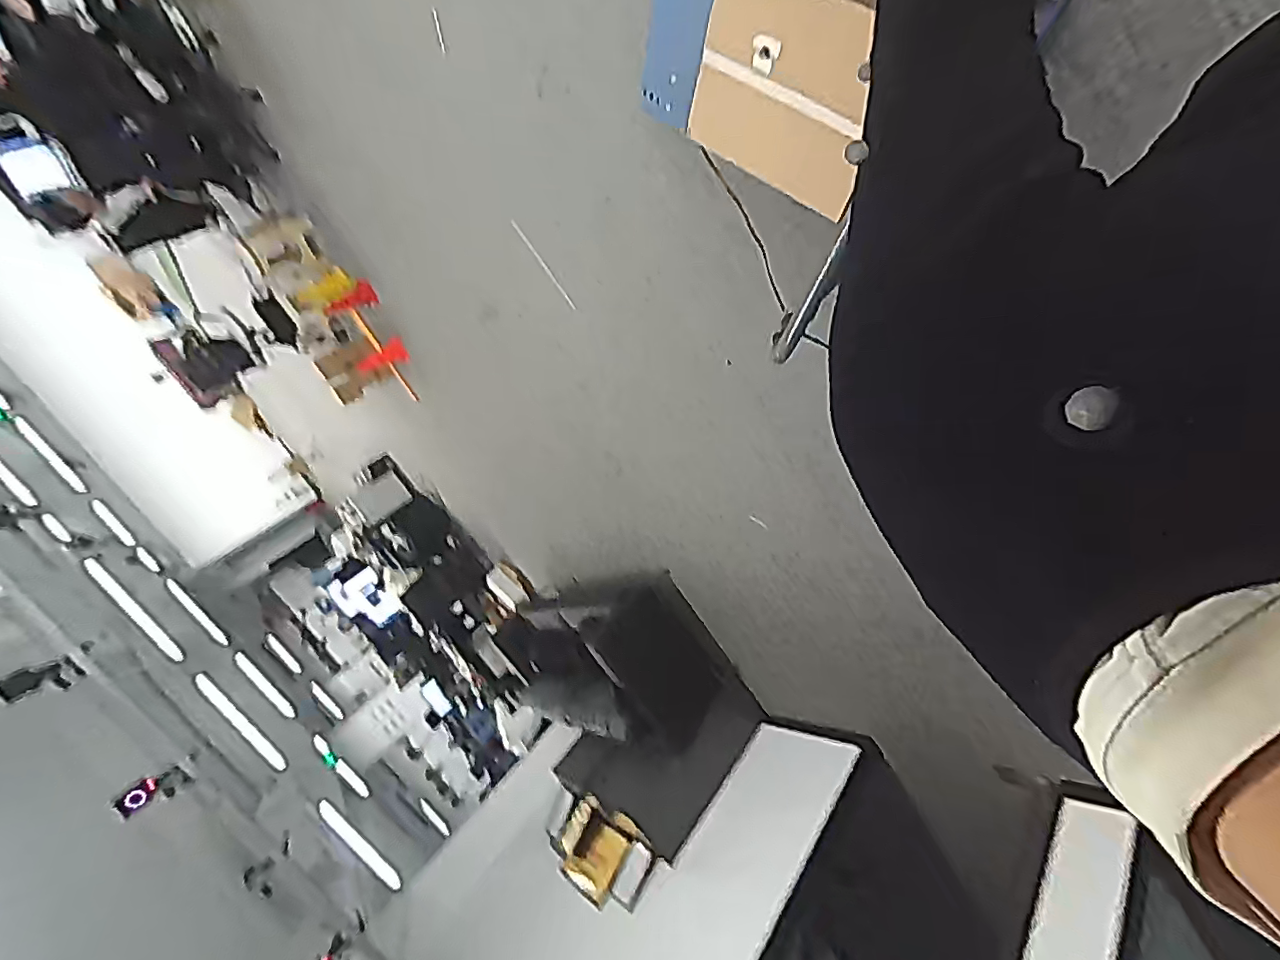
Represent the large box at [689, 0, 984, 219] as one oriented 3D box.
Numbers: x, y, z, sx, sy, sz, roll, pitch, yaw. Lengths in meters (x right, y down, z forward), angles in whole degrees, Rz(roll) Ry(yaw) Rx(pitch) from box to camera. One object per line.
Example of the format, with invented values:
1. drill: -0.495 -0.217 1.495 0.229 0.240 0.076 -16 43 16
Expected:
1. large box: 0.375 -0.810 1.095 0.408 0.320 0.320 40 147 15
